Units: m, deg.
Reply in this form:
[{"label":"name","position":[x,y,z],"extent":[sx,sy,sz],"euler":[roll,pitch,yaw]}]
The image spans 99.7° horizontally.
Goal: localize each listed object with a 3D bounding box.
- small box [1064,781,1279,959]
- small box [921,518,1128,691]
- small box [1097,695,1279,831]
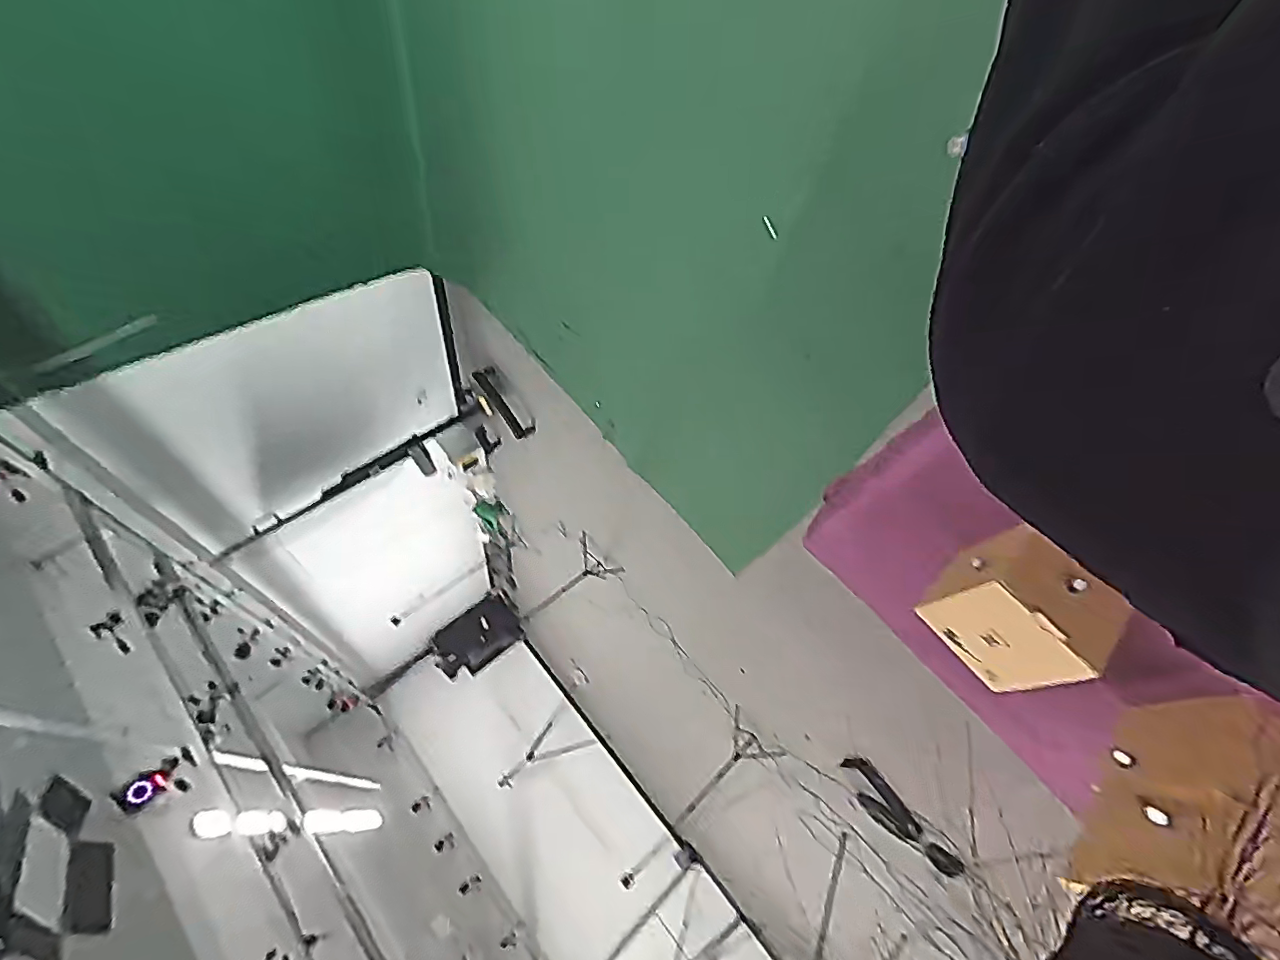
[{"label":"small box","position":[0.678,0.507,0.649],"extent":[0.179,0.176,0.168],"euler":[53,153,5]},{"label":"small box","position":[0.578,0.185,0.813],"extent":[0.168,0.176,0.179],"euler":[49,152,13]},{"label":"small box","position":[0.791,0.418,0.729],"extent":[0.168,0.176,0.179],"euler":[48,152,14]}]
